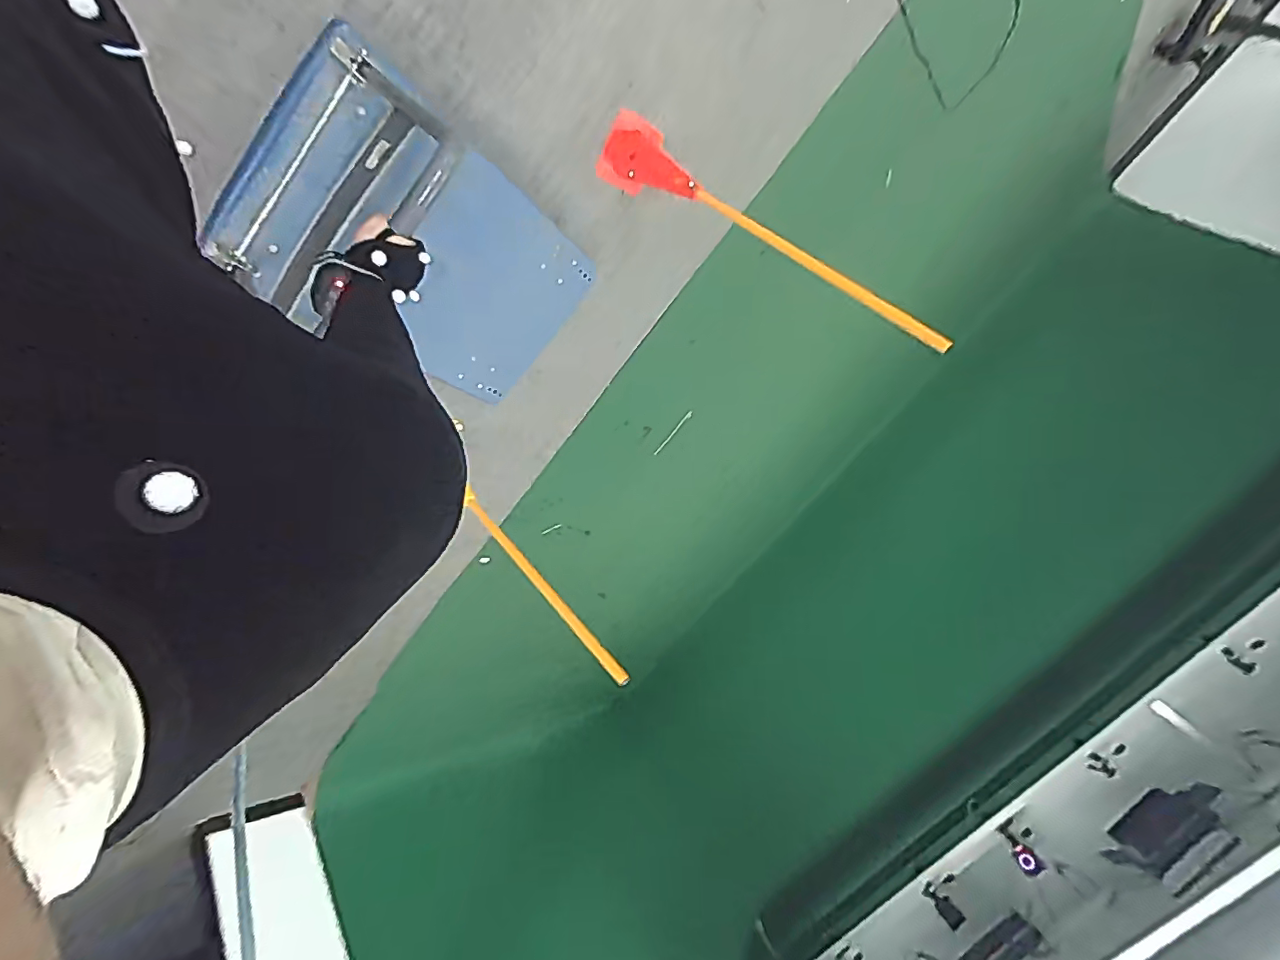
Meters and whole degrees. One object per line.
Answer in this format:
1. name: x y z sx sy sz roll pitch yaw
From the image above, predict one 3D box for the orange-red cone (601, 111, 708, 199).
1. orange-red cone: 0.078 -0.931 1.633 0.198 0.360 0.199 -1 128 -49
